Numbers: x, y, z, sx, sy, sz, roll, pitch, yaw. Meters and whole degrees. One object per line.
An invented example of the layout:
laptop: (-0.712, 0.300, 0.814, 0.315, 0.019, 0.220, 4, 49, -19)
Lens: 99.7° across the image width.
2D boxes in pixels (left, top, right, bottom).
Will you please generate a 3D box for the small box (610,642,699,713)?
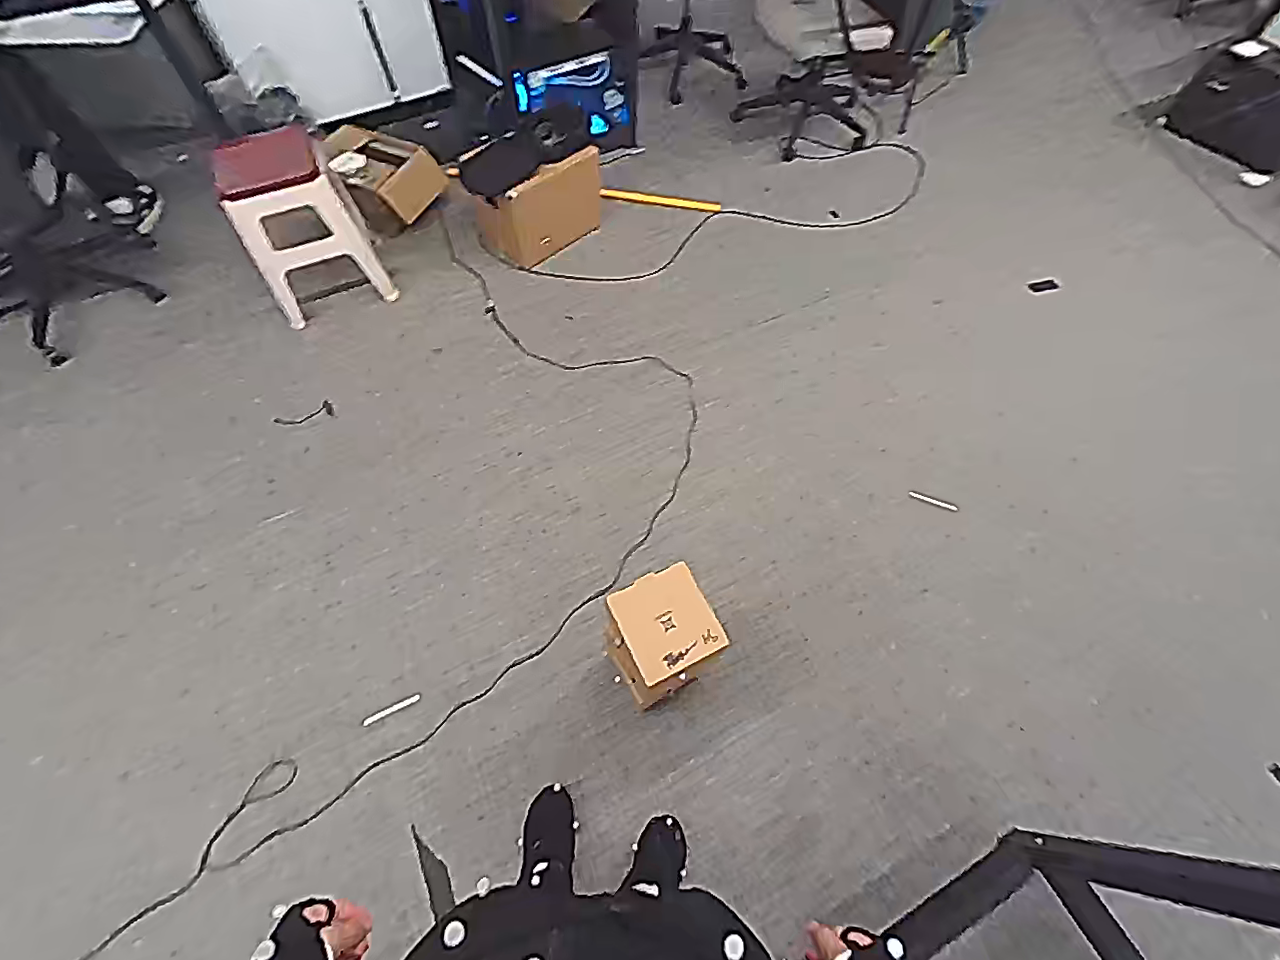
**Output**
small box: (0.040, 0.447, 1.325, 0.179, 0.176, 0.168, -27, 64, -14)

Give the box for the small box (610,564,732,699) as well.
small box: (0.052, 0.295, 1.037, 0.168, 0.176, 0.179, -23, 63, -13)

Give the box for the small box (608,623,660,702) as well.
small box: (0.046, 0.363, 1.187, 0.179, 0.176, 0.168, -30, 66, -18)
